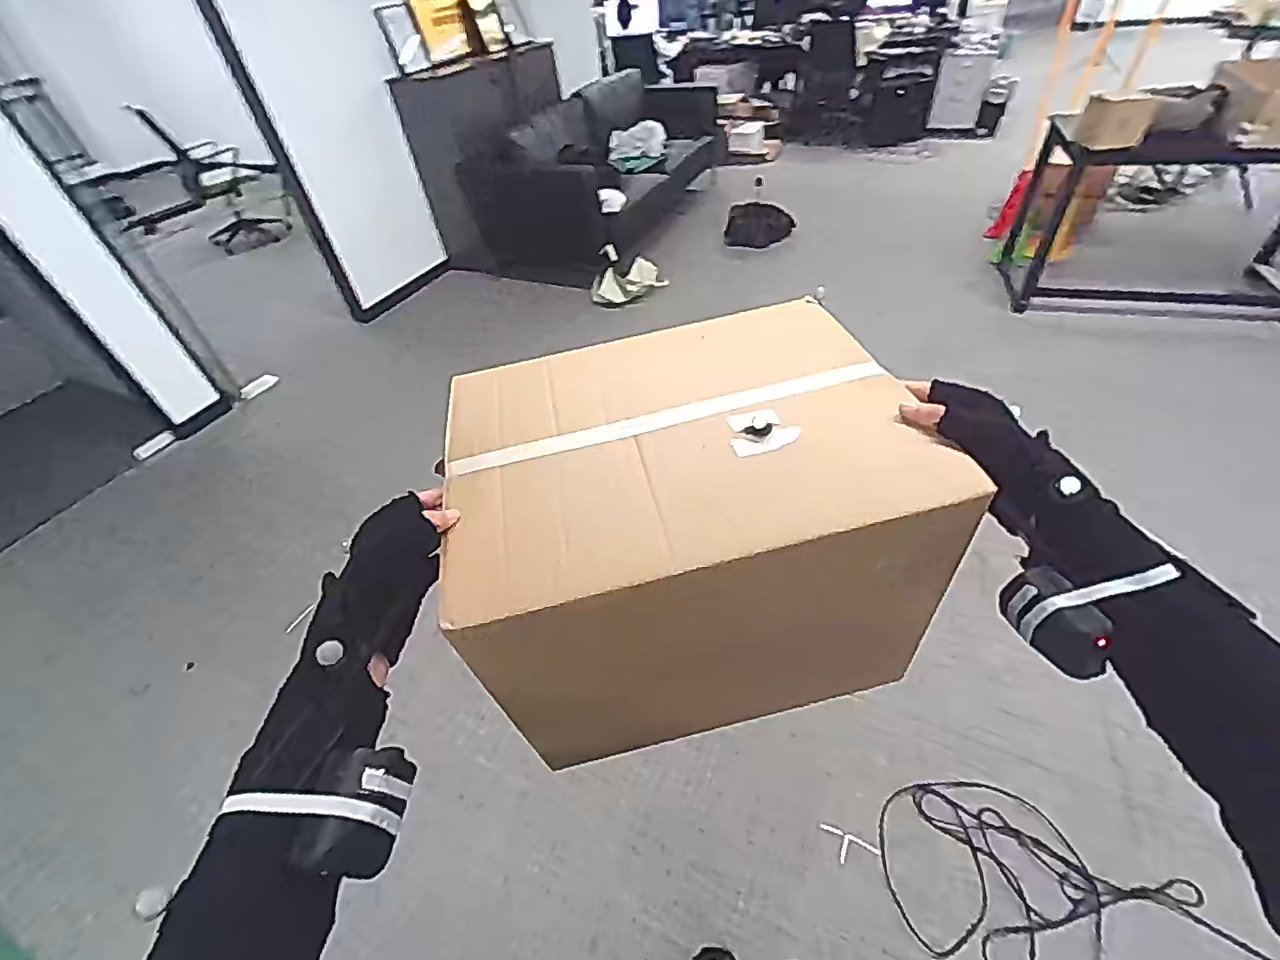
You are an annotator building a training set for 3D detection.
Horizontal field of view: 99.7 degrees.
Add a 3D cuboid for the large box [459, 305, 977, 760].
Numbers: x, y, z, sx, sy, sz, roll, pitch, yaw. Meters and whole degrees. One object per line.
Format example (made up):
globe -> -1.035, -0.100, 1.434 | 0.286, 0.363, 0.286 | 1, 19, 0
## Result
large box -> 0.050, 0.055, 0.600 | 0.408, 0.320, 0.320 | -14, 46, -3
